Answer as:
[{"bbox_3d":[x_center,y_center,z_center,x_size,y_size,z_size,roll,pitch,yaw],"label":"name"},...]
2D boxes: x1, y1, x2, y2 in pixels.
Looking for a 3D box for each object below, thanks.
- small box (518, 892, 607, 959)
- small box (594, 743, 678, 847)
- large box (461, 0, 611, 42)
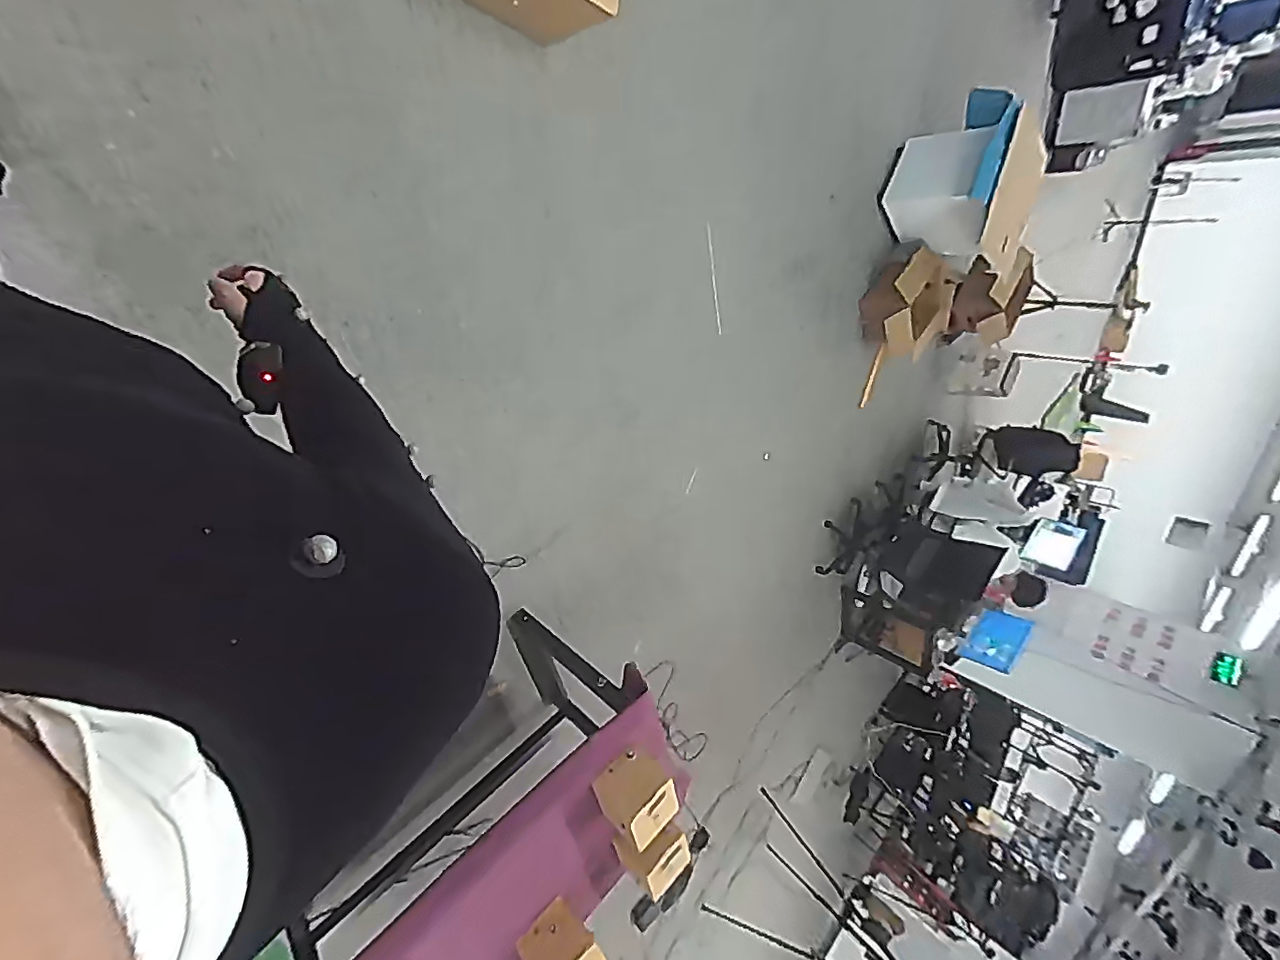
[{"bbox_3d":[-0.221,1.338,1.547,0.168,0.176,0.179,-34,127,-31],"label":"small box"},{"bbox_3d":[-0.014,0.903,1.571,0.168,0.176,0.179,-34,129,-31],"label":"small box"},{"bbox_3d":[-0.301,-1.357,1.311,0.408,0.320,0.320,-8,111,-43],"label":"large box"}]
